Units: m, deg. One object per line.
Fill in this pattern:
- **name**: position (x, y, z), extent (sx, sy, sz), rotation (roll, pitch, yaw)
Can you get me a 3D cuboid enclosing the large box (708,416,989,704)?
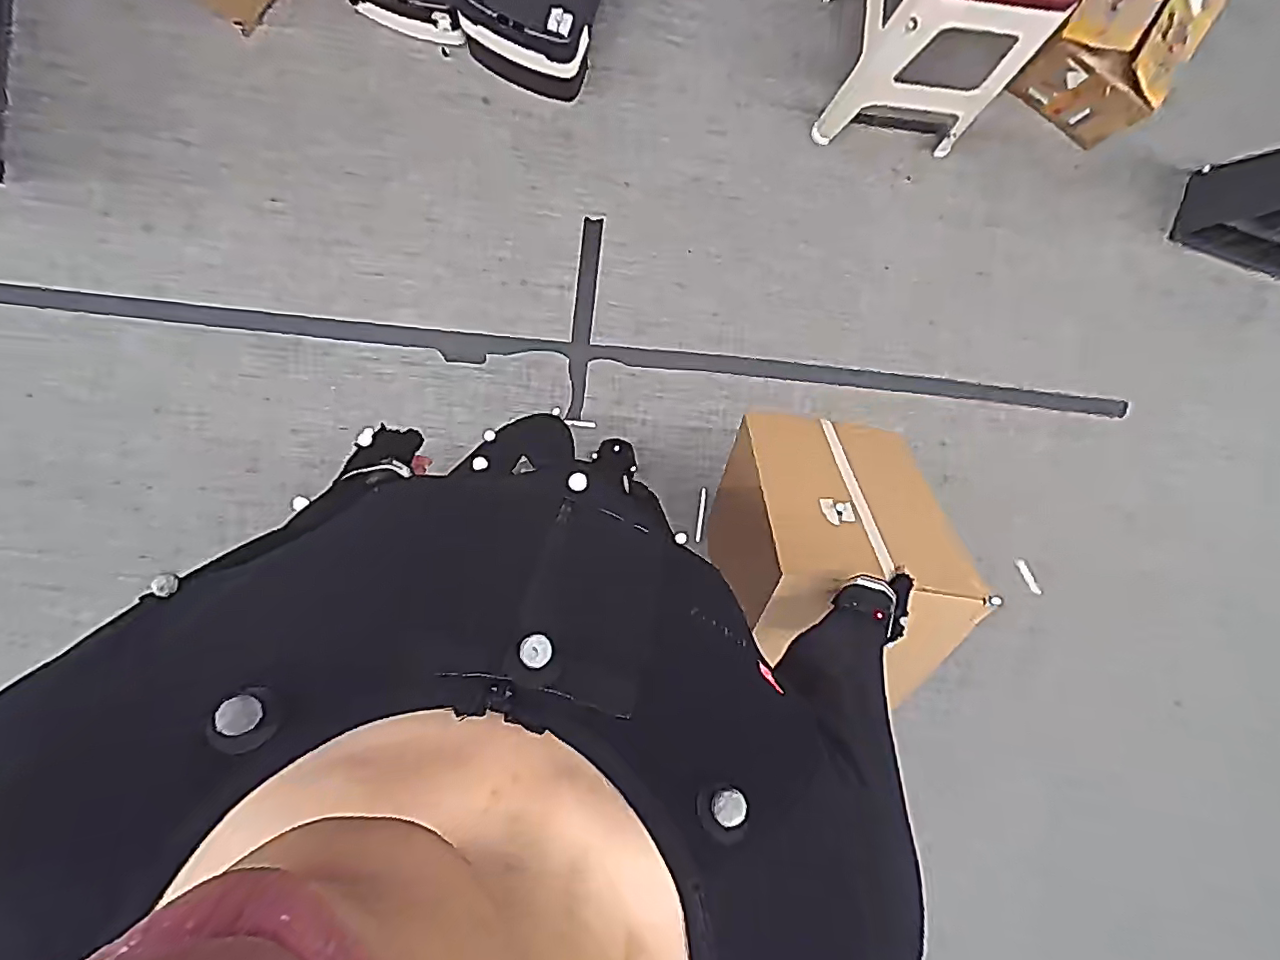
- **large box**: position (0.326, 0.139, 0.999), extent (0.320, 0.408, 0.320), rotation (8, 132, -5)
